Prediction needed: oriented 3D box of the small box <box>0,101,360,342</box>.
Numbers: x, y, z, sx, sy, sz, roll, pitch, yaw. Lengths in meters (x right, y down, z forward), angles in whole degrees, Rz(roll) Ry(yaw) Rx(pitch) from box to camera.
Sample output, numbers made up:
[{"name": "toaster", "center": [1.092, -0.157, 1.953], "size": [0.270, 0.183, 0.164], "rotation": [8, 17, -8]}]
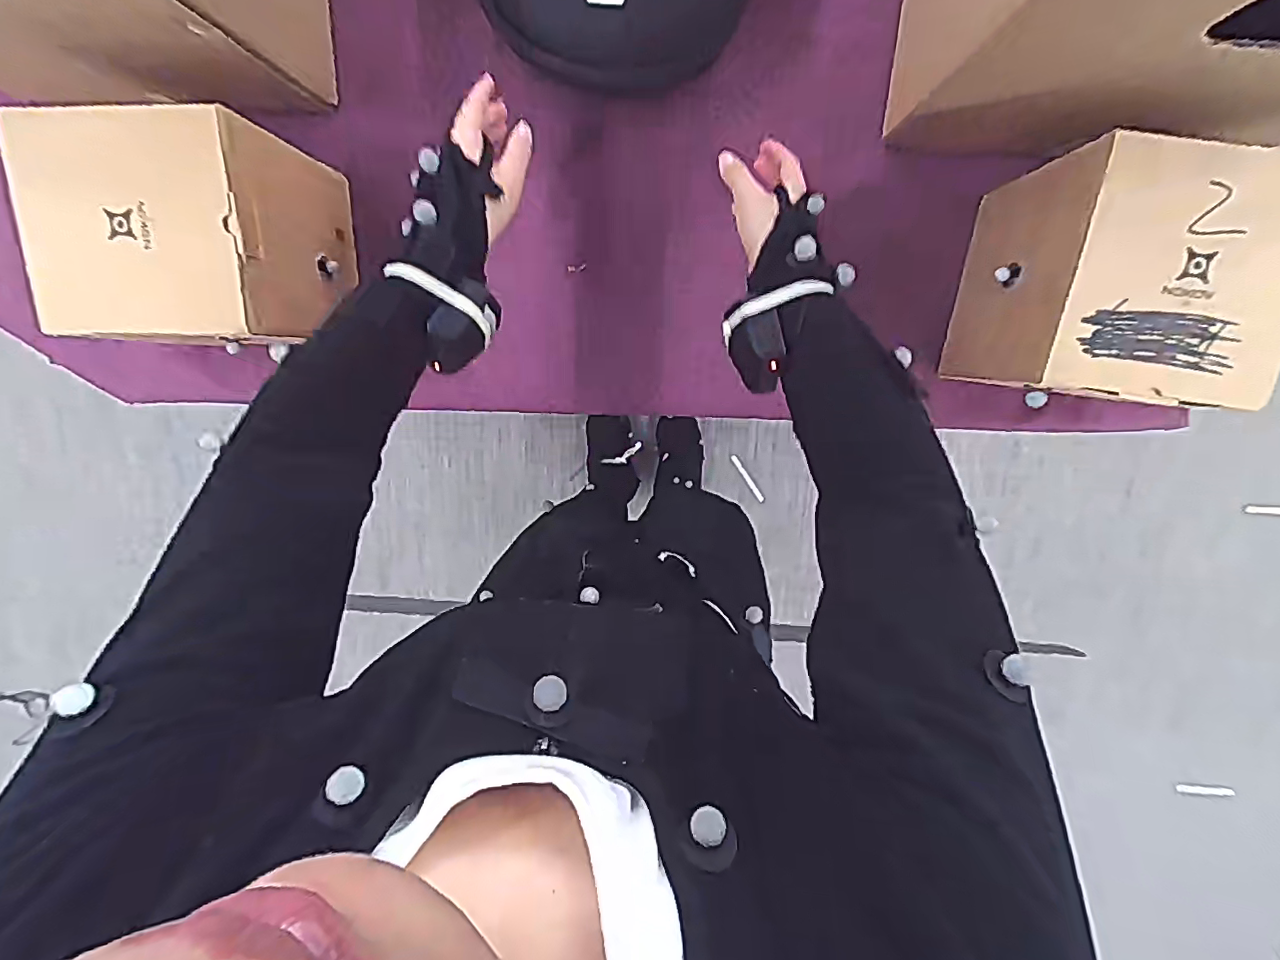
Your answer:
[{"name": "small box", "center": [-0.392, -0.216, 0.496], "size": [0.179, 0.176, 0.168], "rotation": [0, 102, 2]}]

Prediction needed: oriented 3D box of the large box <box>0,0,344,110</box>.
[{"name": "large box", "center": [-0.445, -0.529, 0.352], "size": [0.320, 0.320, 0.408], "rotation": [1, 105, 1]}]
